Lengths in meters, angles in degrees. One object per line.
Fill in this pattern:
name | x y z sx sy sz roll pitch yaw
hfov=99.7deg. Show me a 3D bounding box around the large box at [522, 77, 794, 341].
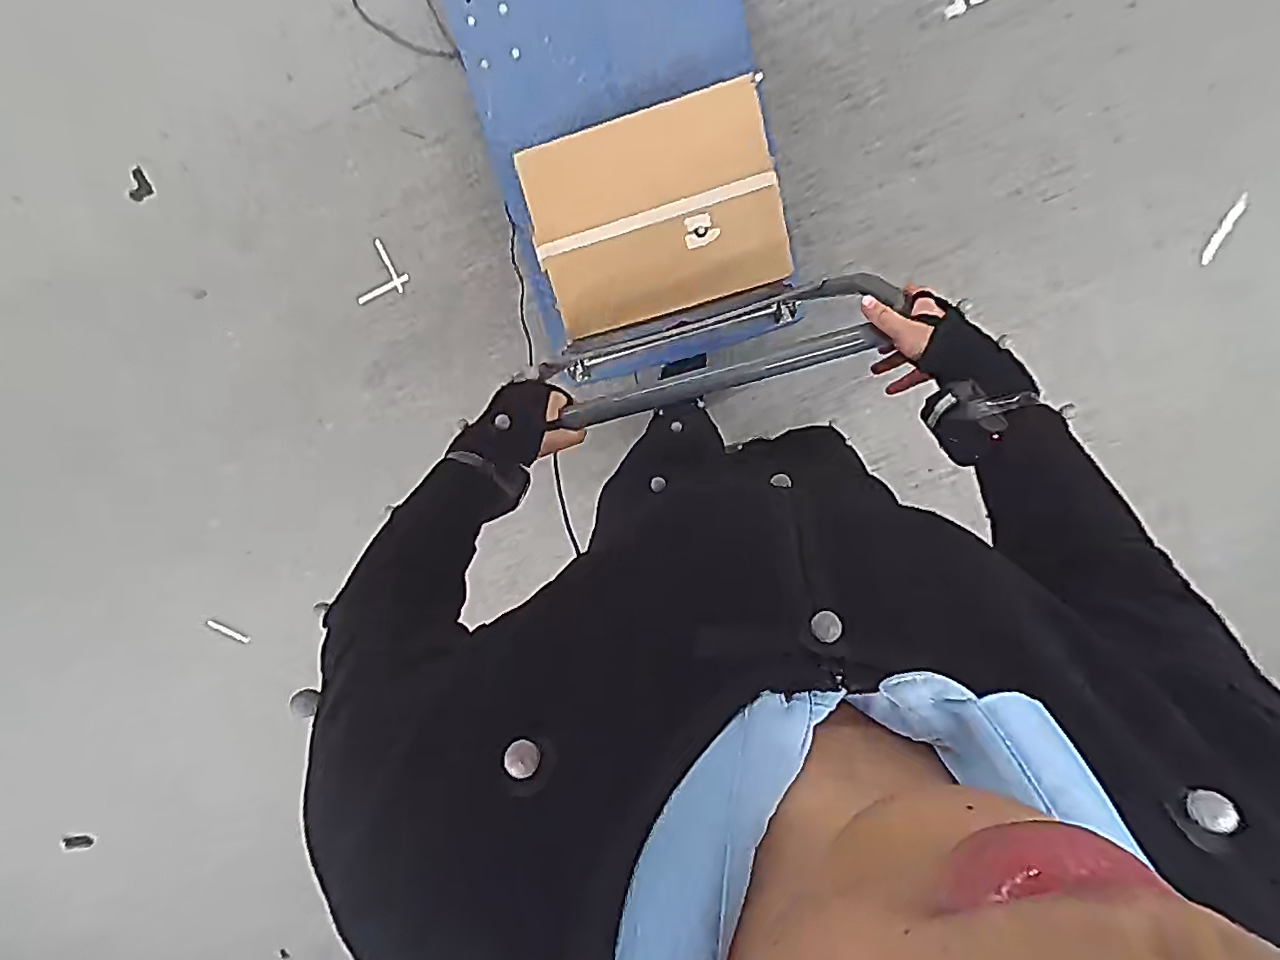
large box | 0.037 -0.479 1.053 0.408 0.320 0.320 -15 104 6
